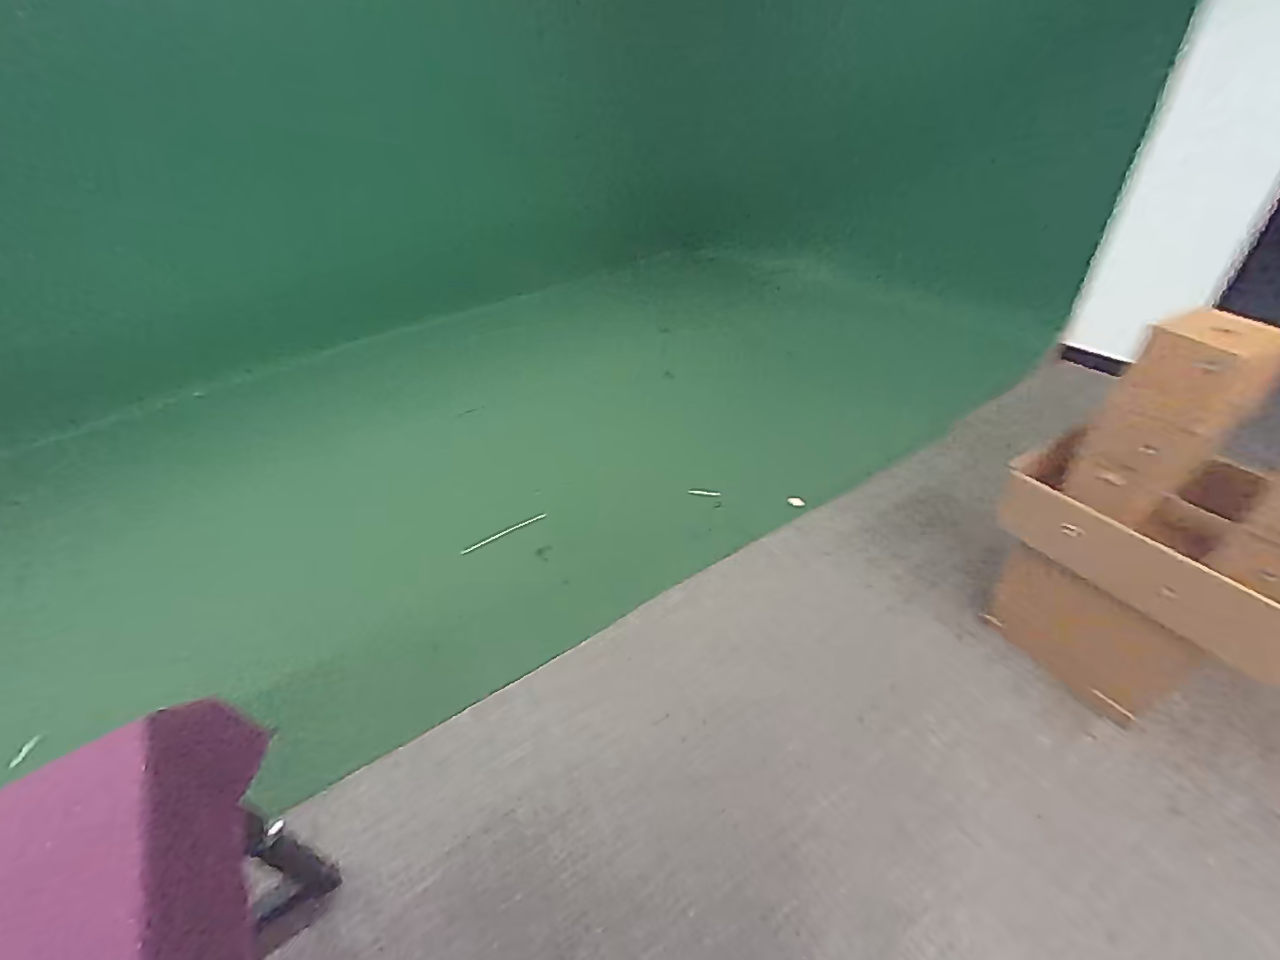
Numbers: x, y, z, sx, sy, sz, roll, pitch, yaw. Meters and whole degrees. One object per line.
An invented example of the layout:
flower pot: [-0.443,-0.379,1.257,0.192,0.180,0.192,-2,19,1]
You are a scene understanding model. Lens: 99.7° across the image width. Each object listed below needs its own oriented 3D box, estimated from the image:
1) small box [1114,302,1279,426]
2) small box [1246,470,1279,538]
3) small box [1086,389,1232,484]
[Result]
small box: [1.132,-0.235,1.096,0.168,0.176,0.179,-19,43,-13]
small box: [1.299,0.032,0.999,0.179,0.176,0.168,-24,42,-19]
small box: [1.149,-0.116,1.205,0.179,0.176,0.168,-20,42,-16]
